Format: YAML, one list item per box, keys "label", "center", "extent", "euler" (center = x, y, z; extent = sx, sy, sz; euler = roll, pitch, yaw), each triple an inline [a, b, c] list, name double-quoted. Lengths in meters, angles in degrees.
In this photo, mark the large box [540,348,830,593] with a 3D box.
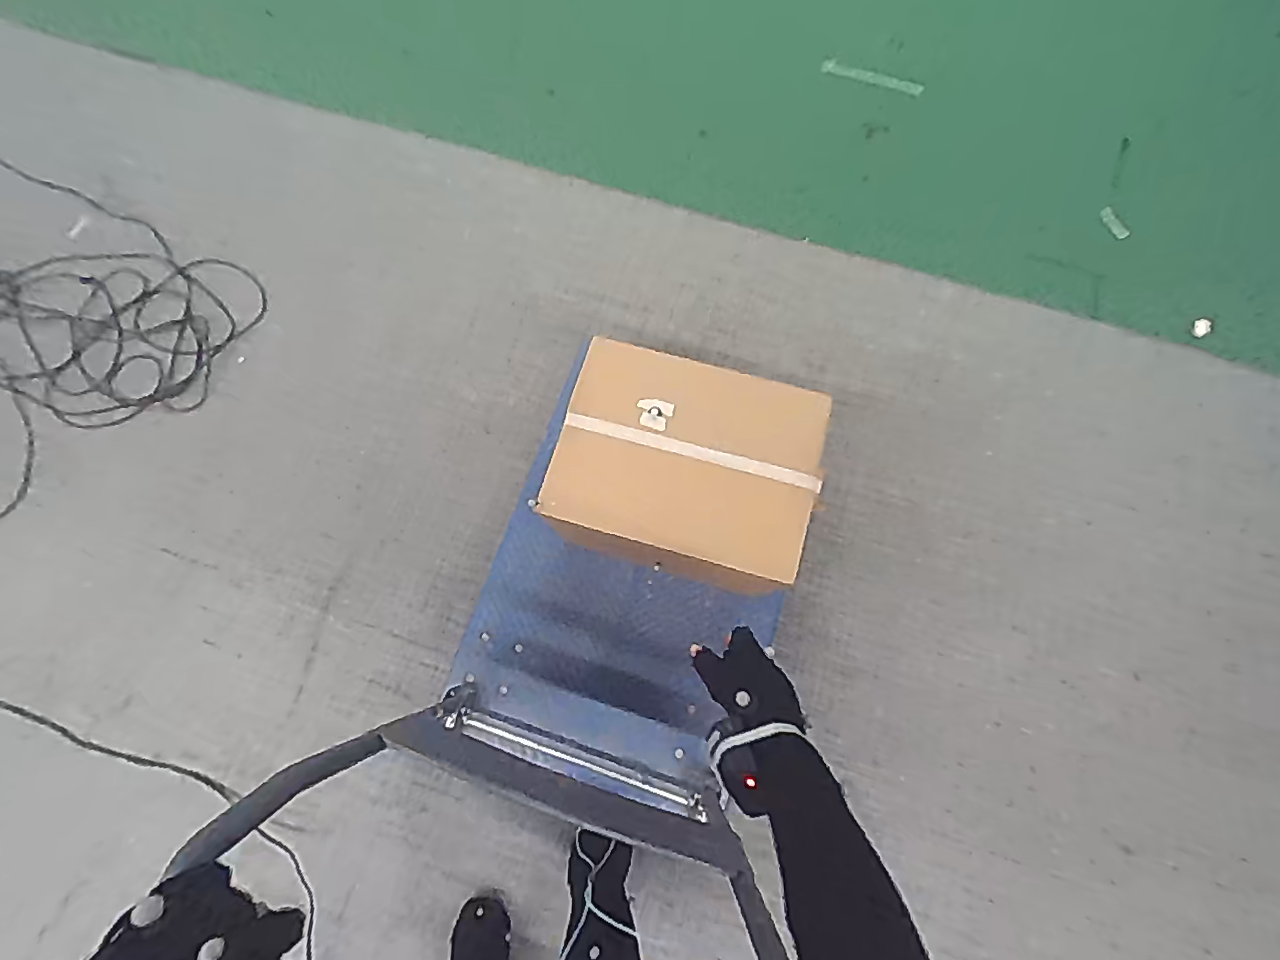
- label: "large box"
  center: [0.083, 0.004, 0.988]
  extent: [0.408, 0.320, 0.320]
  euler: [15, 75, 6]
